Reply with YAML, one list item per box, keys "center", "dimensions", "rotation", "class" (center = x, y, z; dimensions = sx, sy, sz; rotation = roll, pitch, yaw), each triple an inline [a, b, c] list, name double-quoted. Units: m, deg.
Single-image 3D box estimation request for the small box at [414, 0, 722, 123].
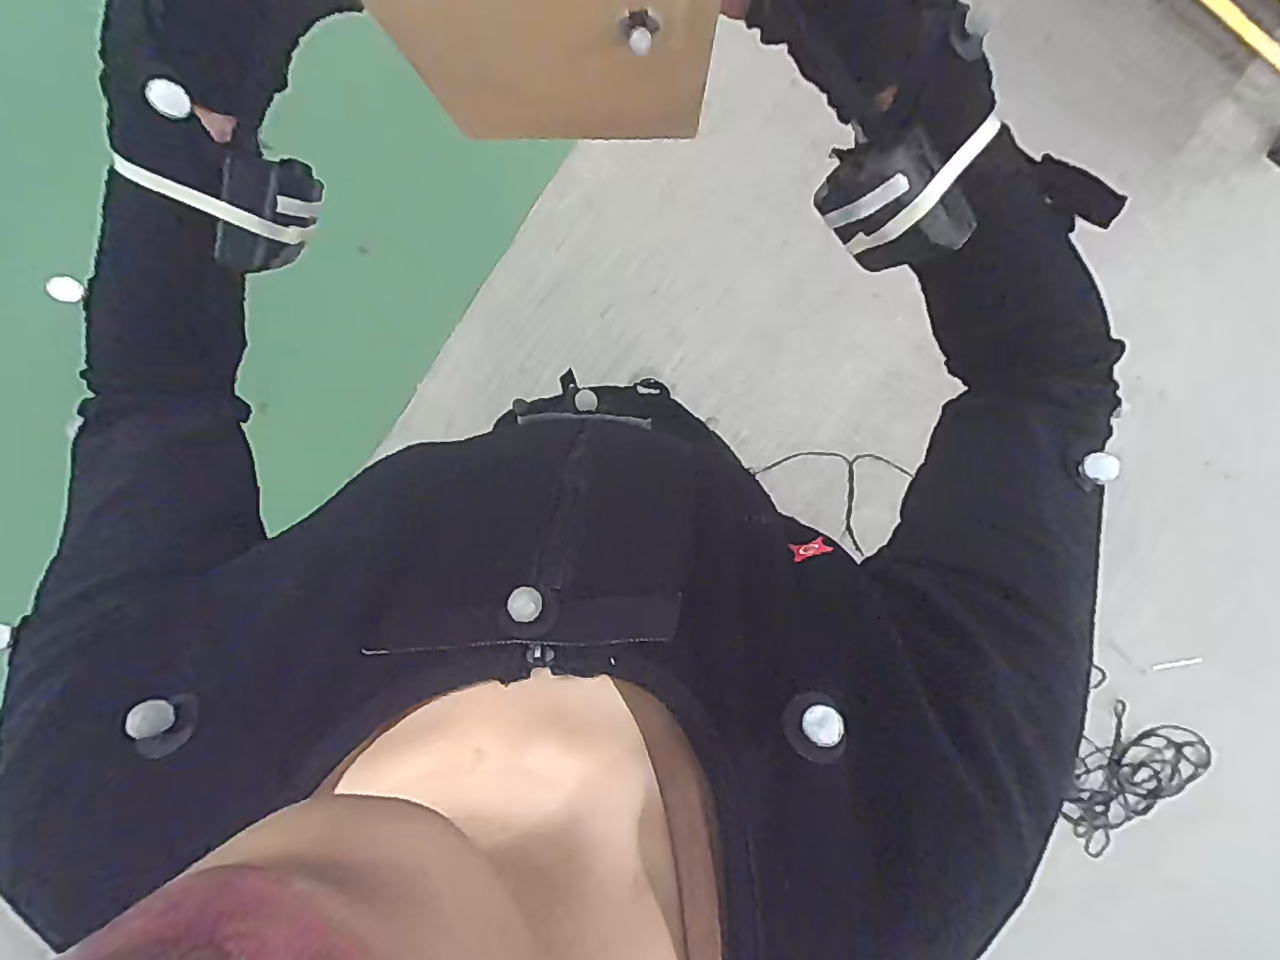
- center: [-0.040, -0.332, 0.312]
  dimensions: [0.179, 0.176, 0.168]
  rotation: [0, 101, 0]
  class: "small box"
